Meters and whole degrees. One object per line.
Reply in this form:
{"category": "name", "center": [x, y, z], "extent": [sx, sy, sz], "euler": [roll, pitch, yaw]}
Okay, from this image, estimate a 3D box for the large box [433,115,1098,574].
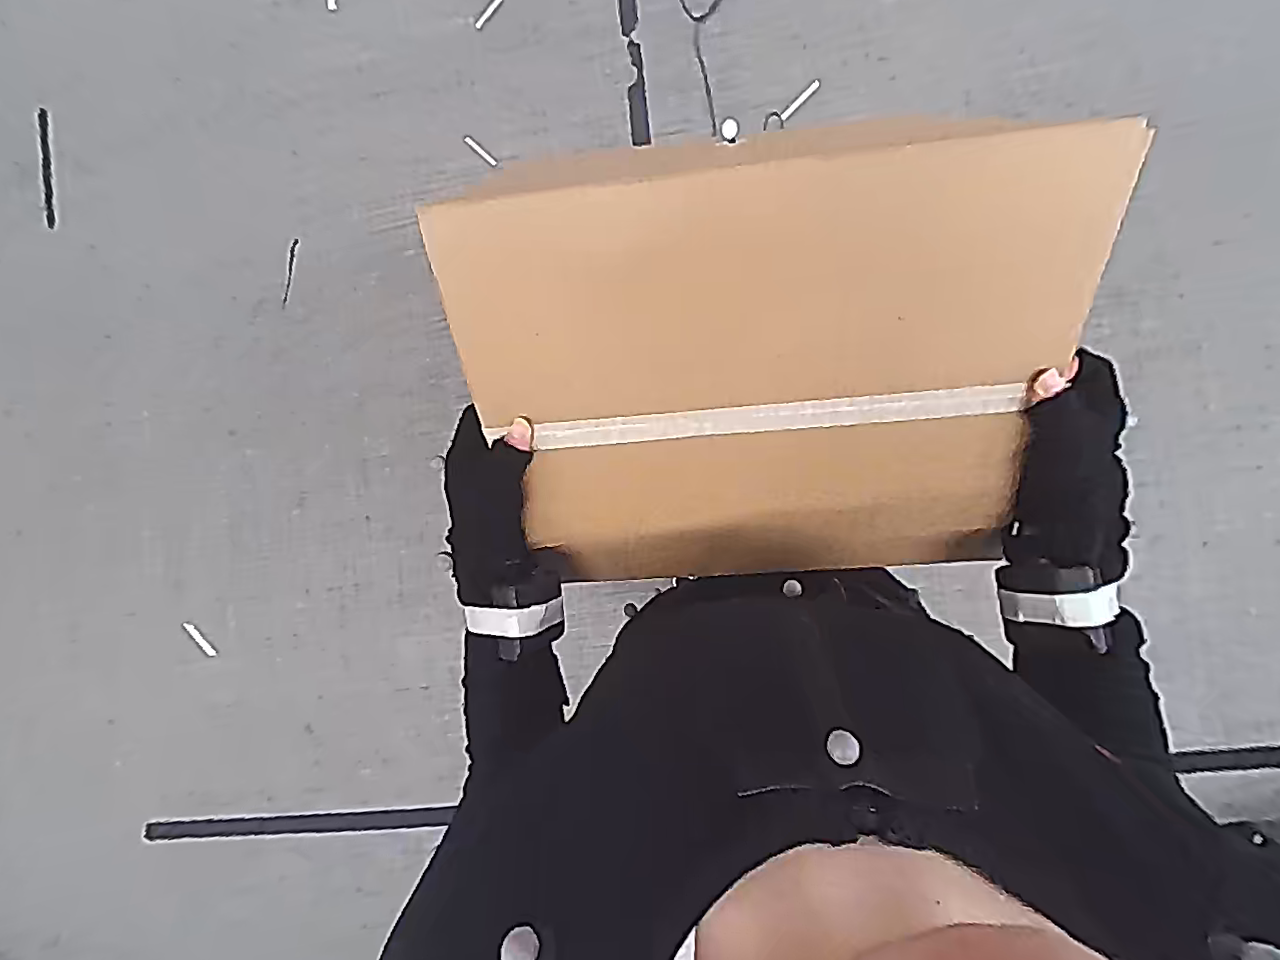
{"category": "large box", "center": [0.088, -0.138, 0.527], "extent": [0.408, 0.320, 0.320], "euler": [-5, 124, 6]}
